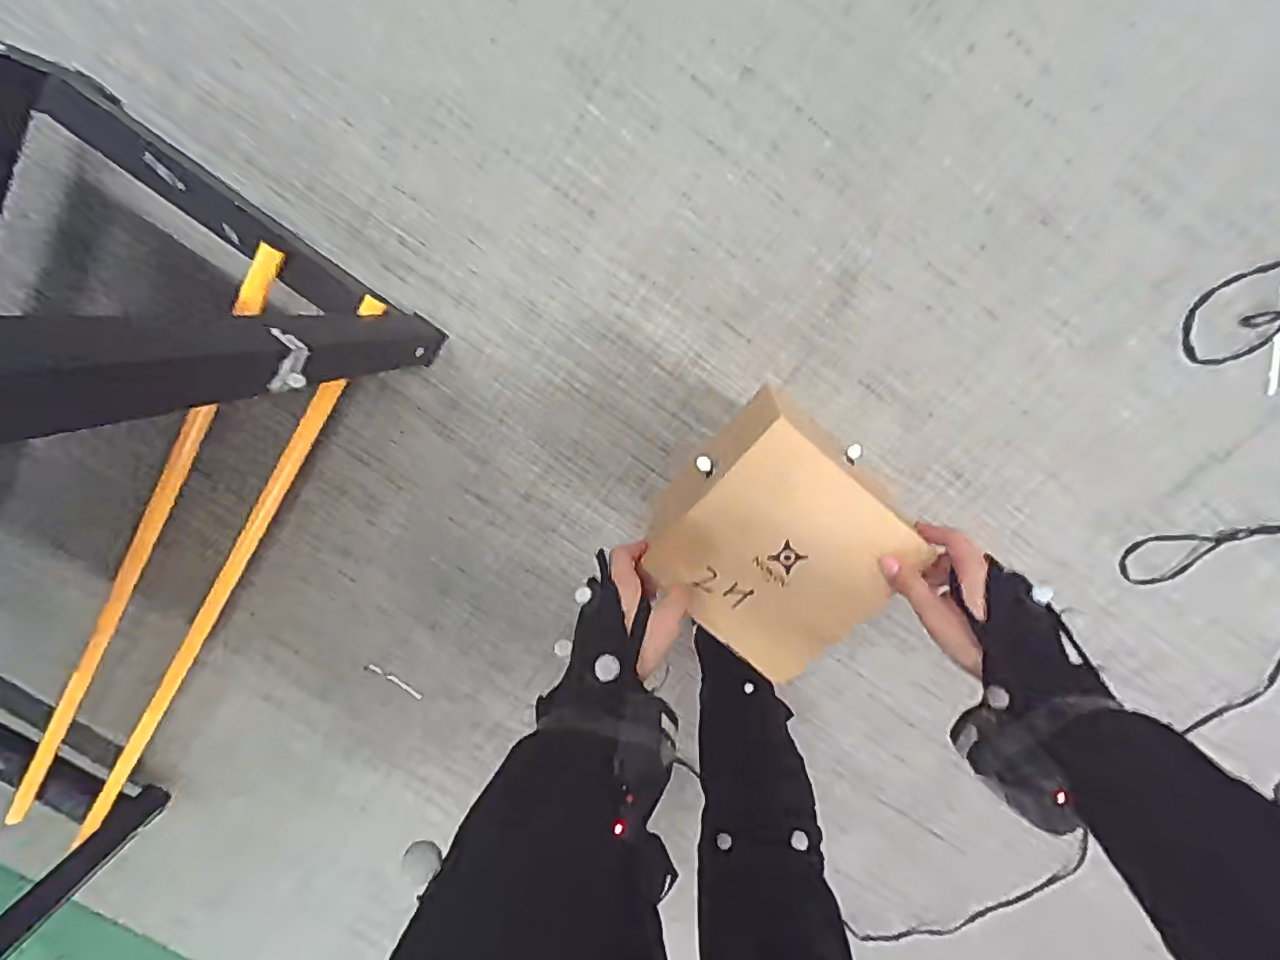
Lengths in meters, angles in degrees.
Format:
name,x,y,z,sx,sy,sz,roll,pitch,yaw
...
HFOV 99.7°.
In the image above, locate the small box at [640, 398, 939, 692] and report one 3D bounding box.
name,x,y,z,sx,sy,sz,roll,pitch,yaw
small box,0.124,0.045,0.502,0.168,0.176,0.179,40,110,-4
